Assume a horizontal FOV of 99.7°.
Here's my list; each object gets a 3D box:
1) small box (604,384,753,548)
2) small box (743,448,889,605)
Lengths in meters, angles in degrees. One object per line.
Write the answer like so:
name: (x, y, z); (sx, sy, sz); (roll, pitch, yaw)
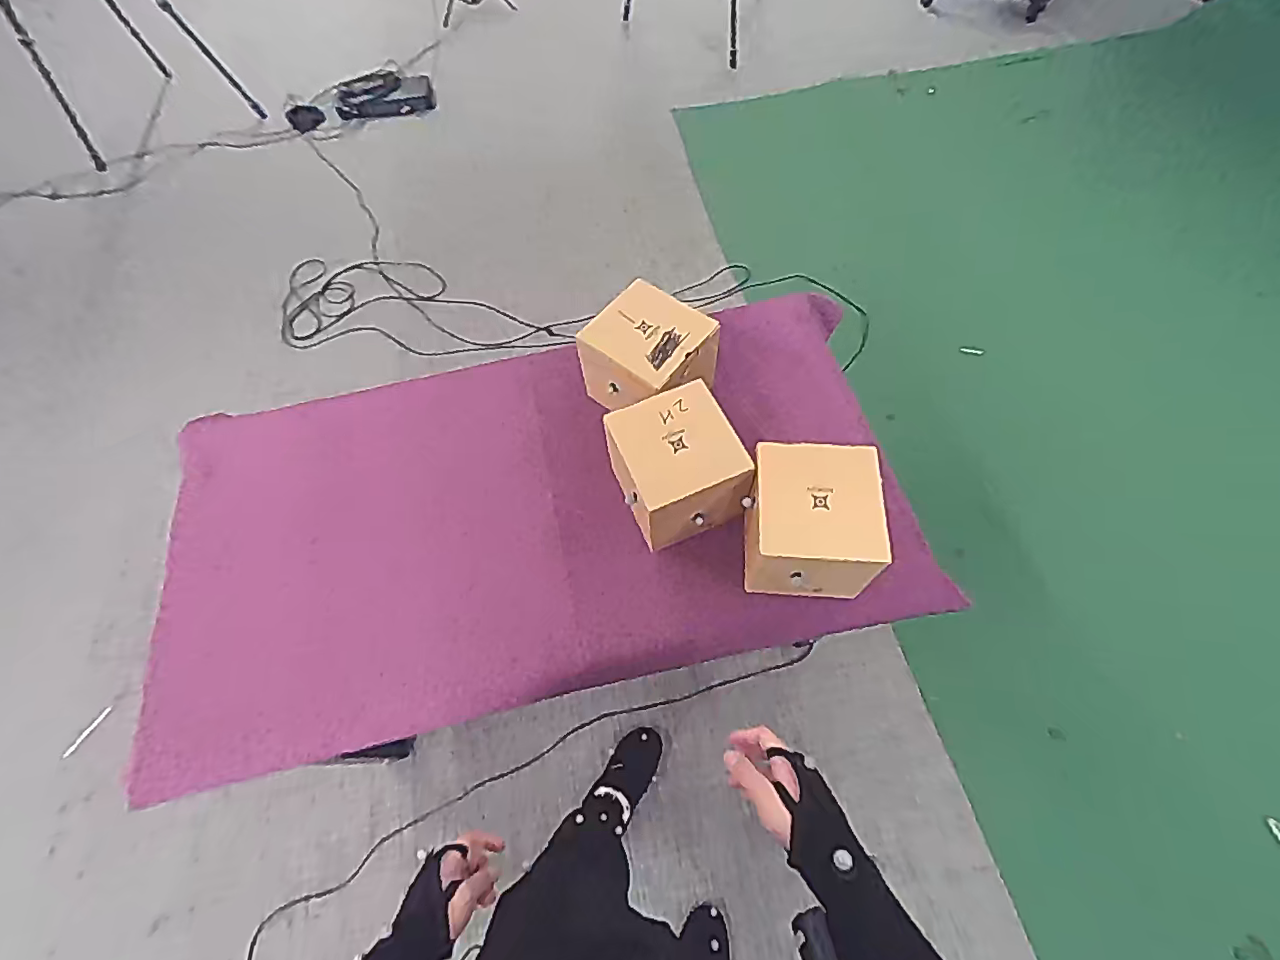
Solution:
small box: (0.056, -0.011, 0.841); (0.168, 0.176, 0.179); (-21, 63, -8)
small box: (0.243, 0.073, 0.788); (0.168, 0.176, 0.179); (3, 61, 5)
